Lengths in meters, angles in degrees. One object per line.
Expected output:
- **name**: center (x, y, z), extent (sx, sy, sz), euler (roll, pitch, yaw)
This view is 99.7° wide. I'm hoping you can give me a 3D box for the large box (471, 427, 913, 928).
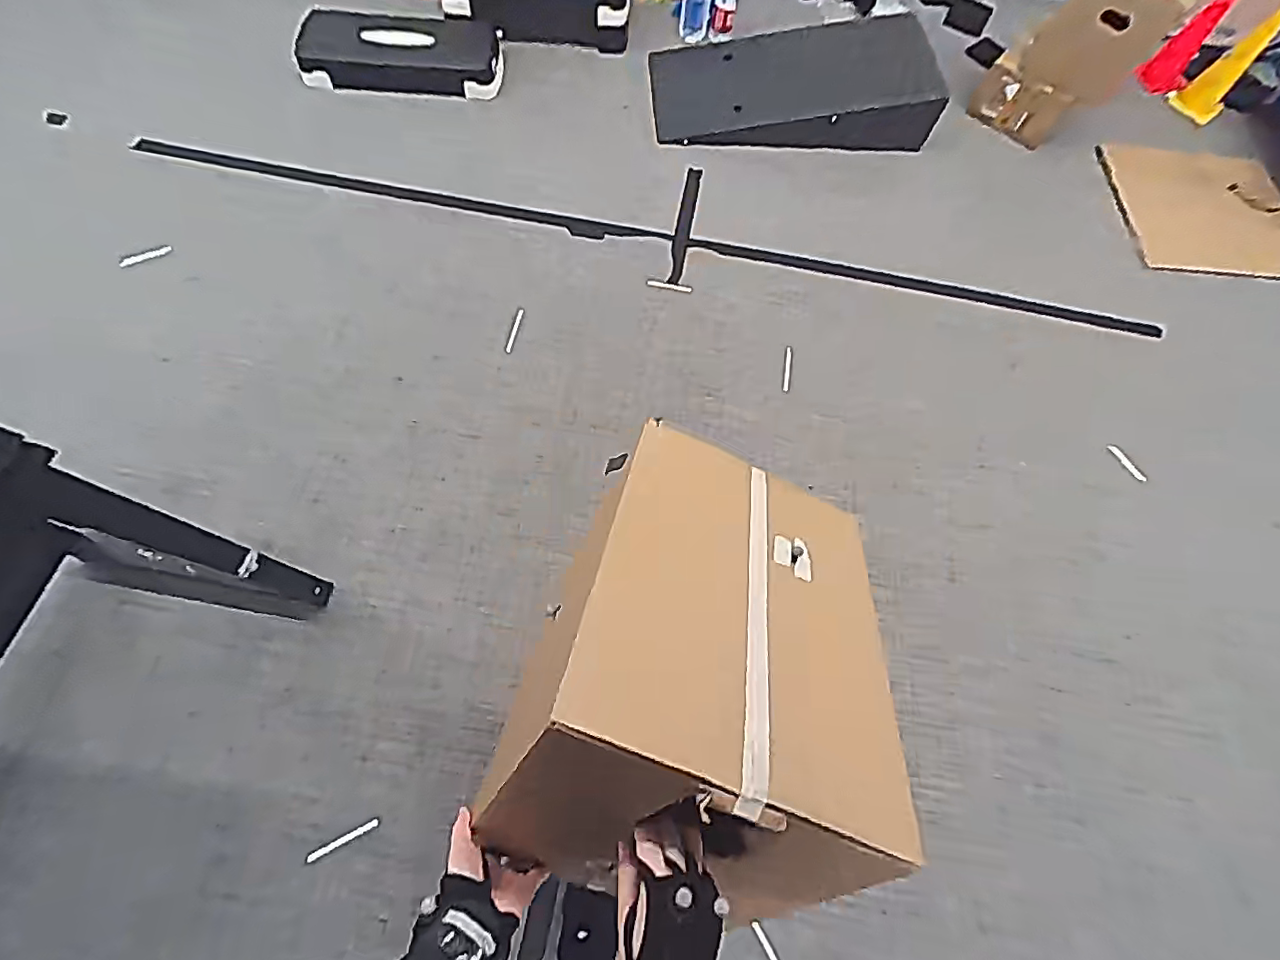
- **large box**: center (0.046, 0.214, 0.638), extent (0.320, 0.320, 0.408), euler (26, 37, -7)
